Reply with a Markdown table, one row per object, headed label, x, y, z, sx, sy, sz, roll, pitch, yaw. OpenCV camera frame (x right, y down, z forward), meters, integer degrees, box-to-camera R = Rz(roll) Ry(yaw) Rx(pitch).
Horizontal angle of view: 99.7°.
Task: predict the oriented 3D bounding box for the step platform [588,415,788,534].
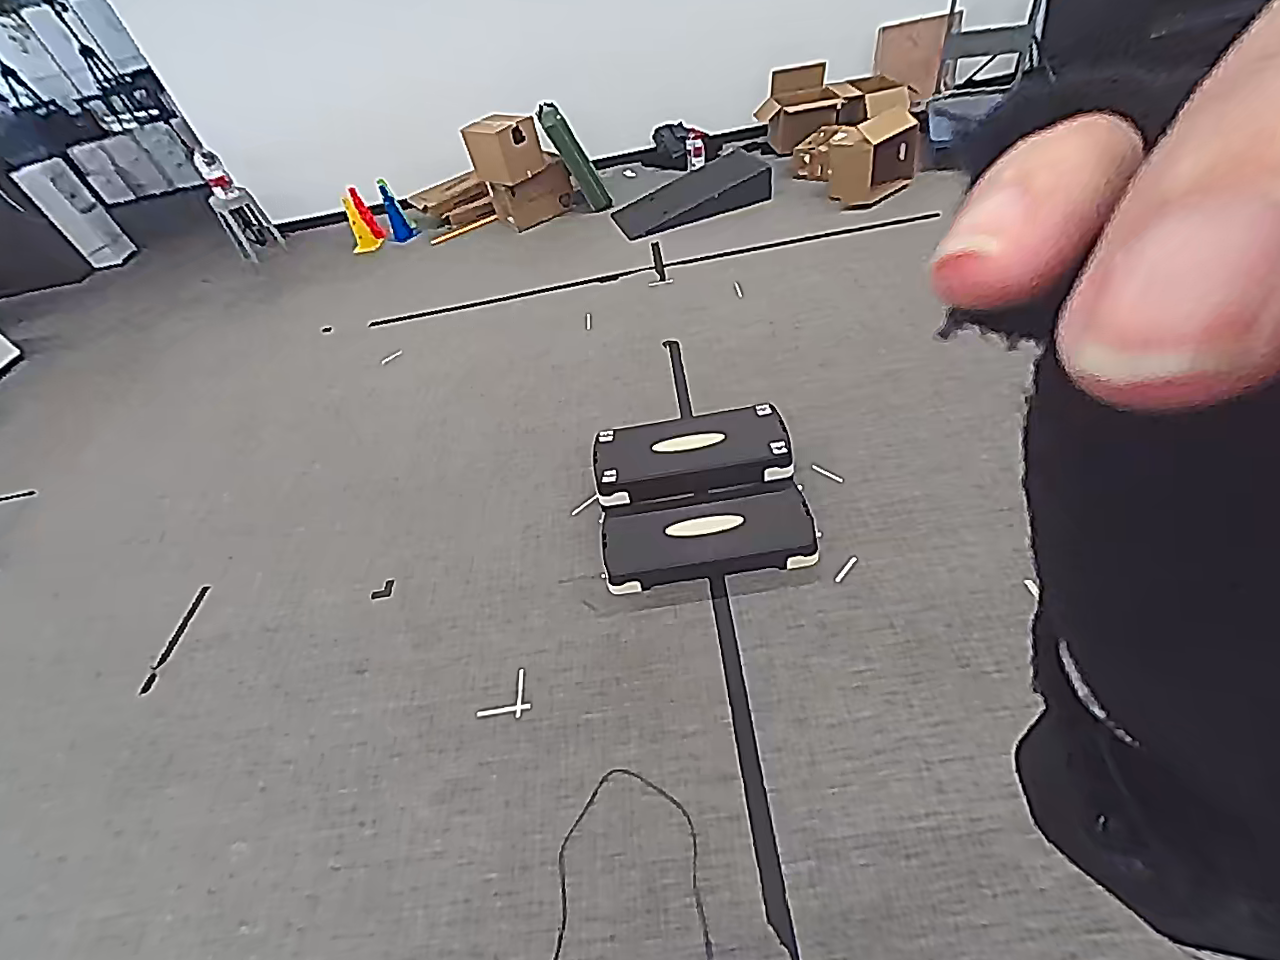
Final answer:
| label | x | y | z | sx | sy | sz | roll | pitch | yaw |
| --- | --- | --- | --- | --- | --- | --- | --- | --- | --- |
| step platform | 0.160 | -0.025 | 1.892 | 0.684 | 0.204 | 0.286 | -10 | 46 | 2 |
